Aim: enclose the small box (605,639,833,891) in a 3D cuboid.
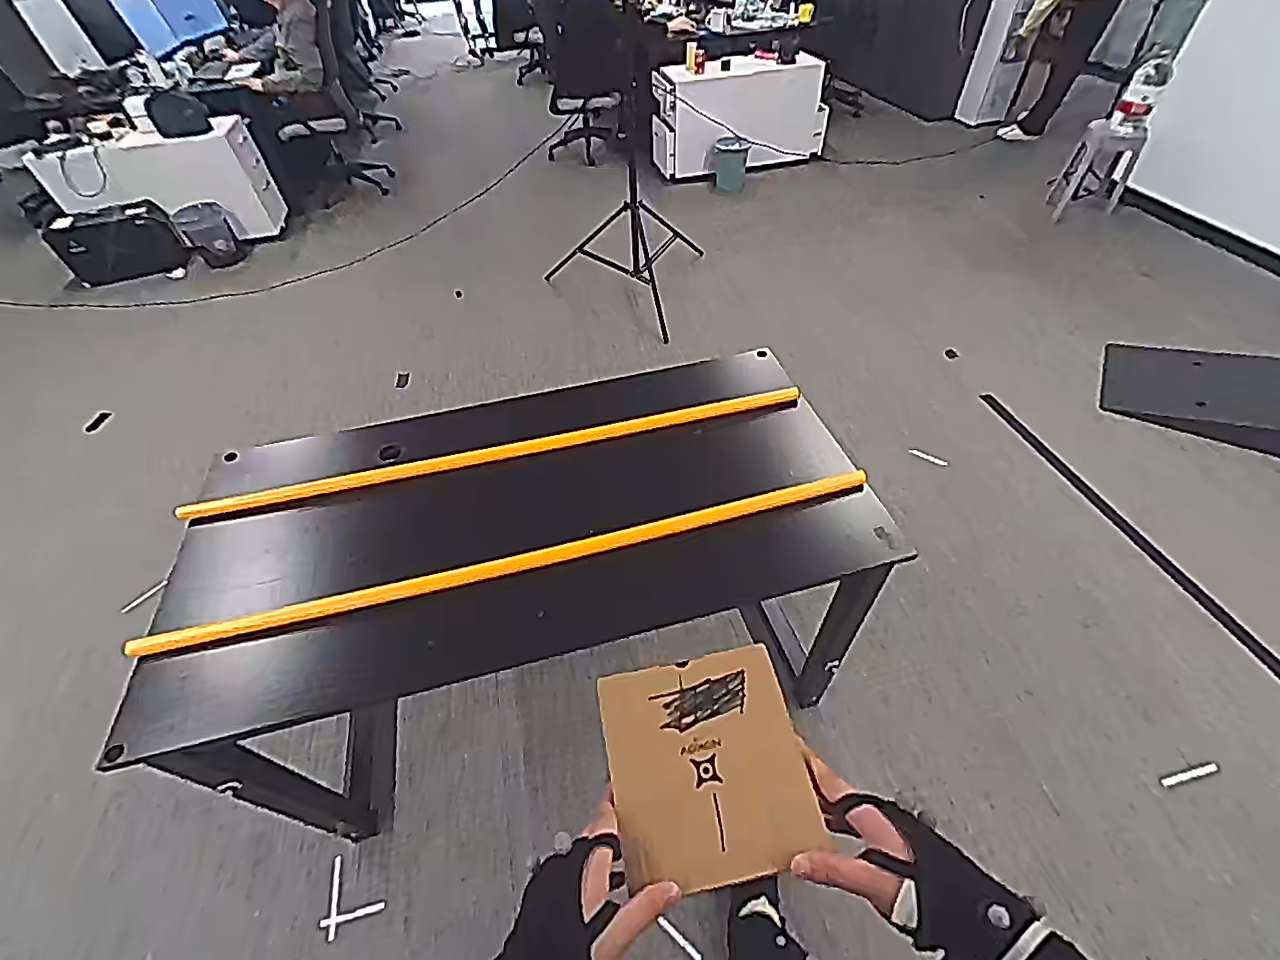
[{"bbox_3d":[0.063,0.284,0.536,0.168,0.176,0.179,-11,53,-3],"label":"small box"}]
